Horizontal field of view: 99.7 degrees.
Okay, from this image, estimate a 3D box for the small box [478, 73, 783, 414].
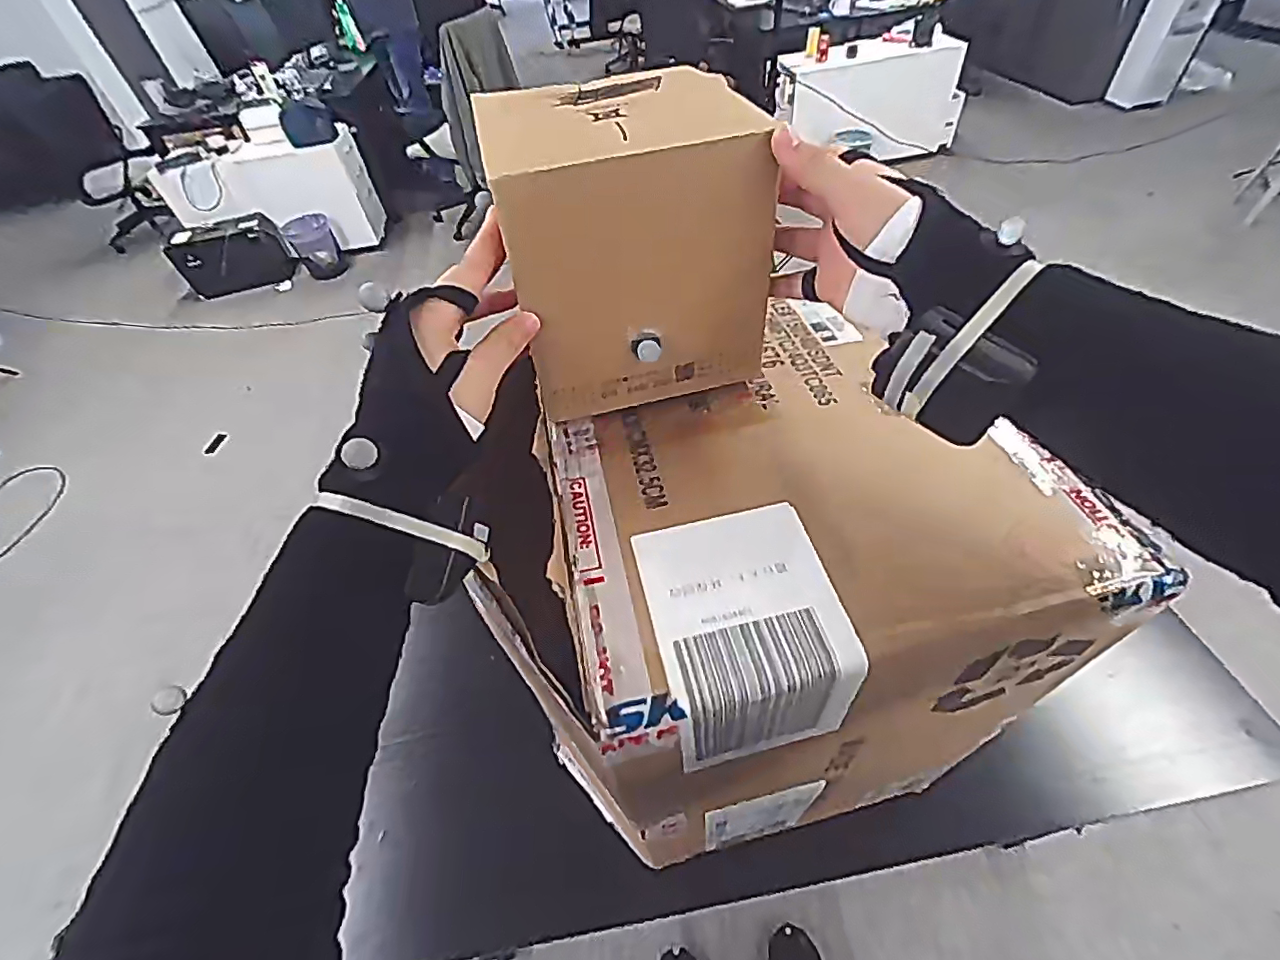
[{"bbox_3d":[-0.014,-0.176,0.401,0.168,0.176,0.179,-14,47,-6],"label":"small box"}]
